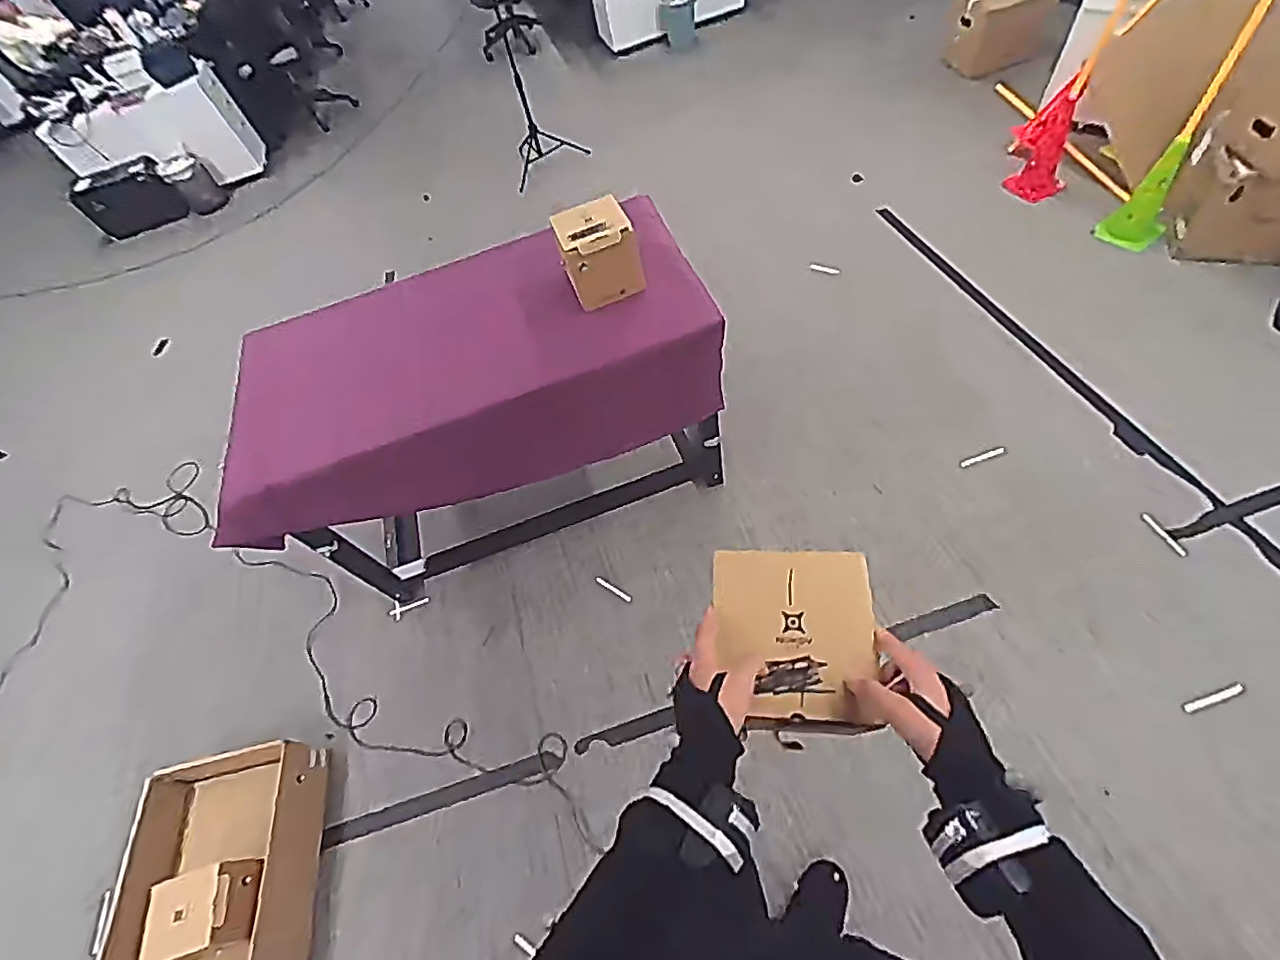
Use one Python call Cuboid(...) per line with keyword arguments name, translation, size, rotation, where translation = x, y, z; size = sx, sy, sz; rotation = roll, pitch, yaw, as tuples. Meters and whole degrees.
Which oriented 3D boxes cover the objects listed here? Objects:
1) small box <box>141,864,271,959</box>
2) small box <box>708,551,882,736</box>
Cuboid(name="small box", translation=(-1.040, 1.055, 1.312), size=(0.179, 0.176, 0.168), rotation=(-19, 54, -1))
Cuboid(name="small box", translation=(0.166, 0.194, 0.628), size=(0.168, 0.176, 0.179), rotation=(0, 61, 8))
